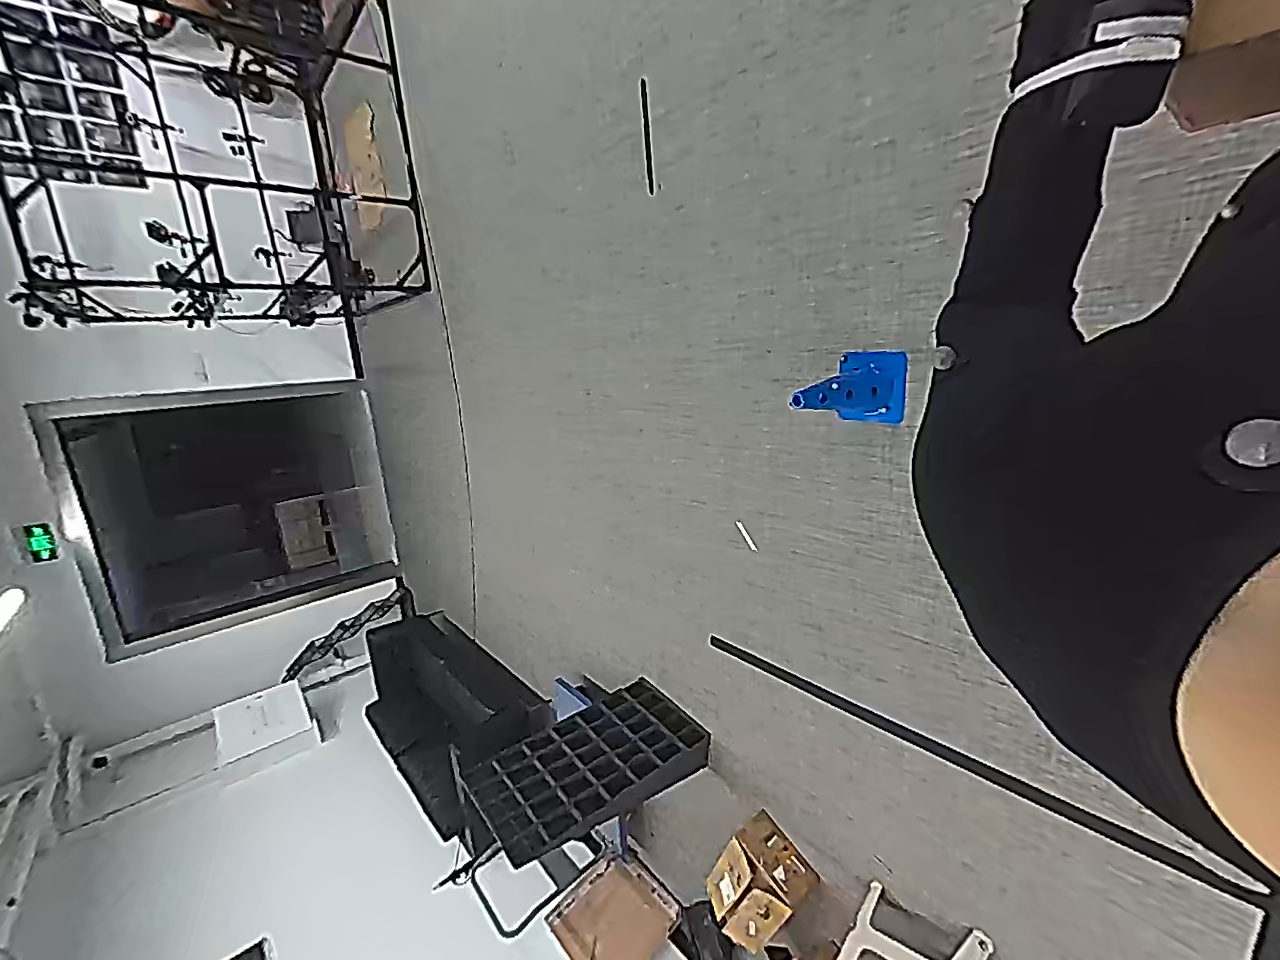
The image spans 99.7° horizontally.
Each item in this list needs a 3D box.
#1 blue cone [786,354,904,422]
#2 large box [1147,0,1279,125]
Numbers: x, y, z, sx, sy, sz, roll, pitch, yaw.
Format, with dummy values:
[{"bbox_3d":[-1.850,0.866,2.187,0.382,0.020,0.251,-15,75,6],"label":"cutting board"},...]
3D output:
[{"bbox_3d":[0.534,-0.233,1.460,0.192,0.380,0.193,17,114,49],"label":"blue cone"},{"bbox_3d":[0.550,-0.435,0.263,0.408,0.320,0.320,11,114,46],"label":"large box"}]
